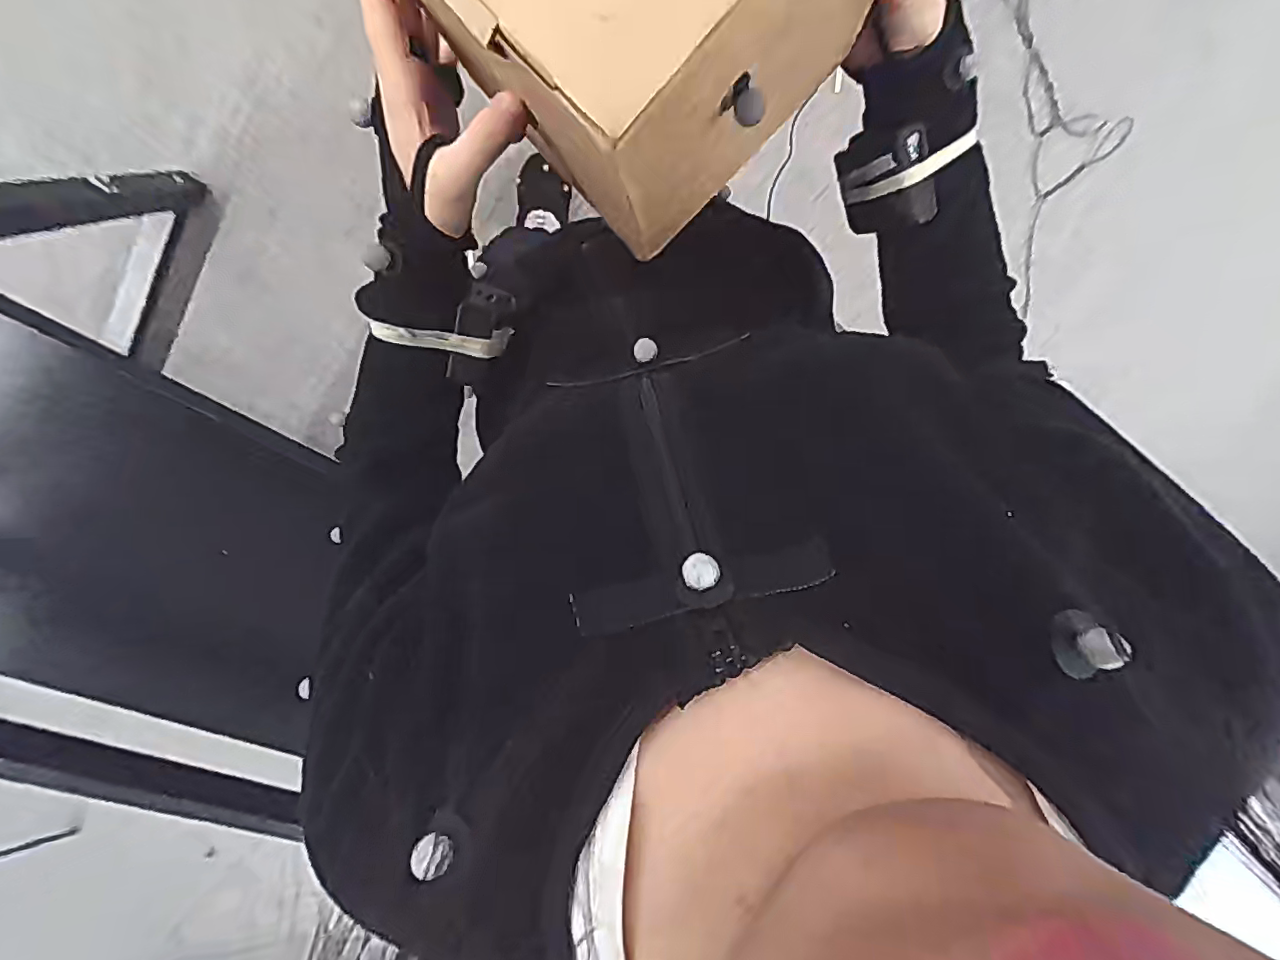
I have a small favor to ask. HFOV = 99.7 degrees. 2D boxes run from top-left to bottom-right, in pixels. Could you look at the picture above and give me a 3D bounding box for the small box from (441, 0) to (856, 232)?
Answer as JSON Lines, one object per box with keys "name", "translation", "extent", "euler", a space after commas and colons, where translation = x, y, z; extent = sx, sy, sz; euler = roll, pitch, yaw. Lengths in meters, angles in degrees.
{"name": "small box", "translation": [0.003, -0.254, 0.254], "extent": [0.179, 0.176, 0.168], "euler": [-44, 92, 12]}
